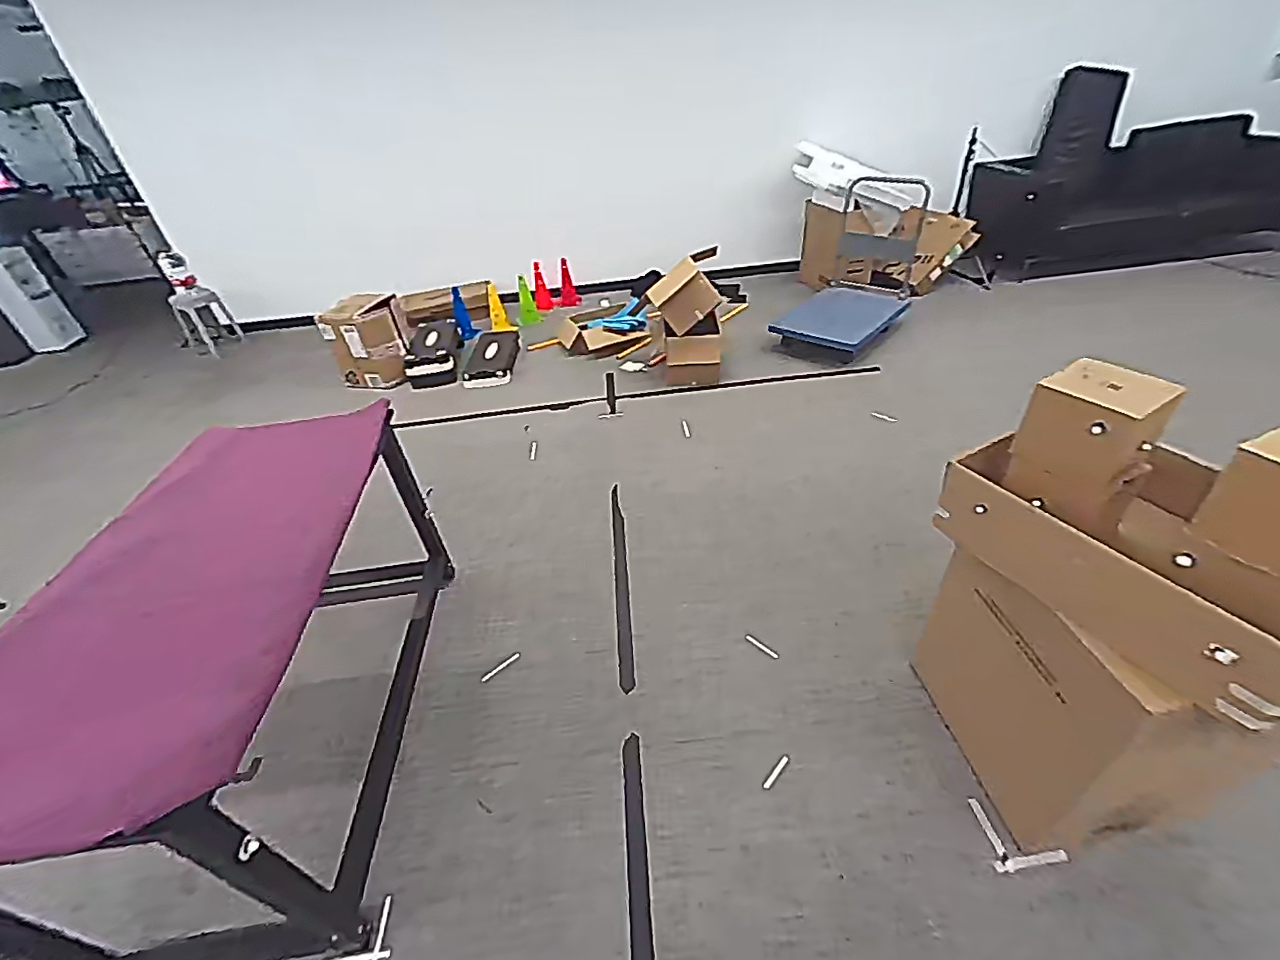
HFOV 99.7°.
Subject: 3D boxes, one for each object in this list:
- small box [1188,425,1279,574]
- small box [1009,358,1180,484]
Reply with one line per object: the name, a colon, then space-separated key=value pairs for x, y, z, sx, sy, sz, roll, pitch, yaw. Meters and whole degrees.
small box: x=1.034 y=0.032 z=0.843 sx=0.168 sy=0.176 sz=0.179 roll=-18 pitch=38 yaw=-14
small box: x=0.876 y=-0.111 z=1.059 sx=0.168 sy=0.176 sz=0.179 roll=-24 pitch=40 yaw=-21
